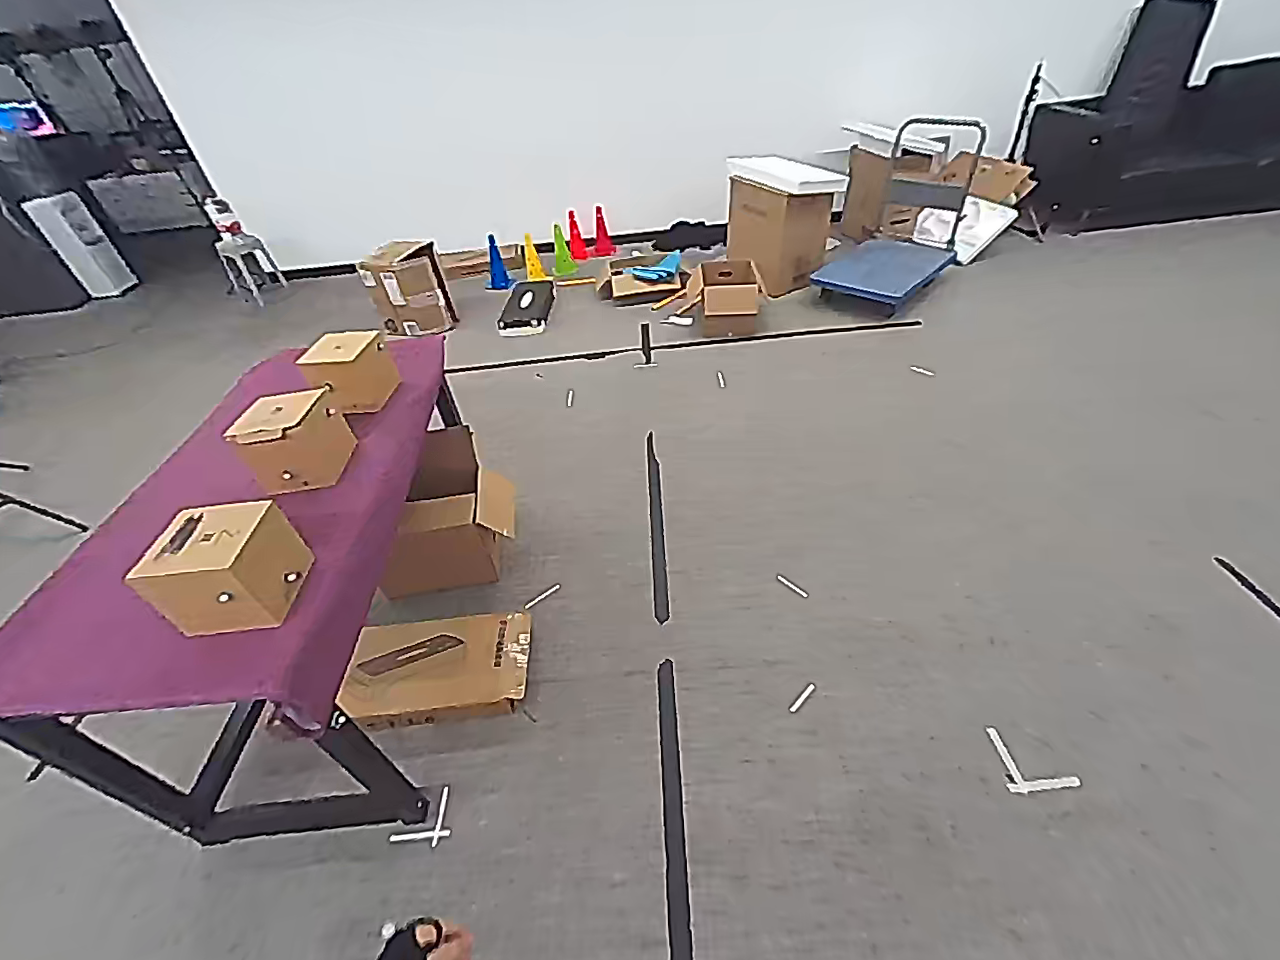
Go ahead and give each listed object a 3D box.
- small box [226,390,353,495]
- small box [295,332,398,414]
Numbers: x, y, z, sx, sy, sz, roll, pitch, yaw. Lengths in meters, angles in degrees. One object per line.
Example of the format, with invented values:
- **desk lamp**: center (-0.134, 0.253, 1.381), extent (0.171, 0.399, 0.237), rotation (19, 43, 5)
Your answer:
- **small box**: center (-0.814, -0.088, 1.283), extent (0.168, 0.176, 0.179), rotation (-9, 41, 2)
- **small box**: center (-0.814, -0.297, 1.524), extent (0.168, 0.176, 0.179), rotation (-2, 41, 5)
